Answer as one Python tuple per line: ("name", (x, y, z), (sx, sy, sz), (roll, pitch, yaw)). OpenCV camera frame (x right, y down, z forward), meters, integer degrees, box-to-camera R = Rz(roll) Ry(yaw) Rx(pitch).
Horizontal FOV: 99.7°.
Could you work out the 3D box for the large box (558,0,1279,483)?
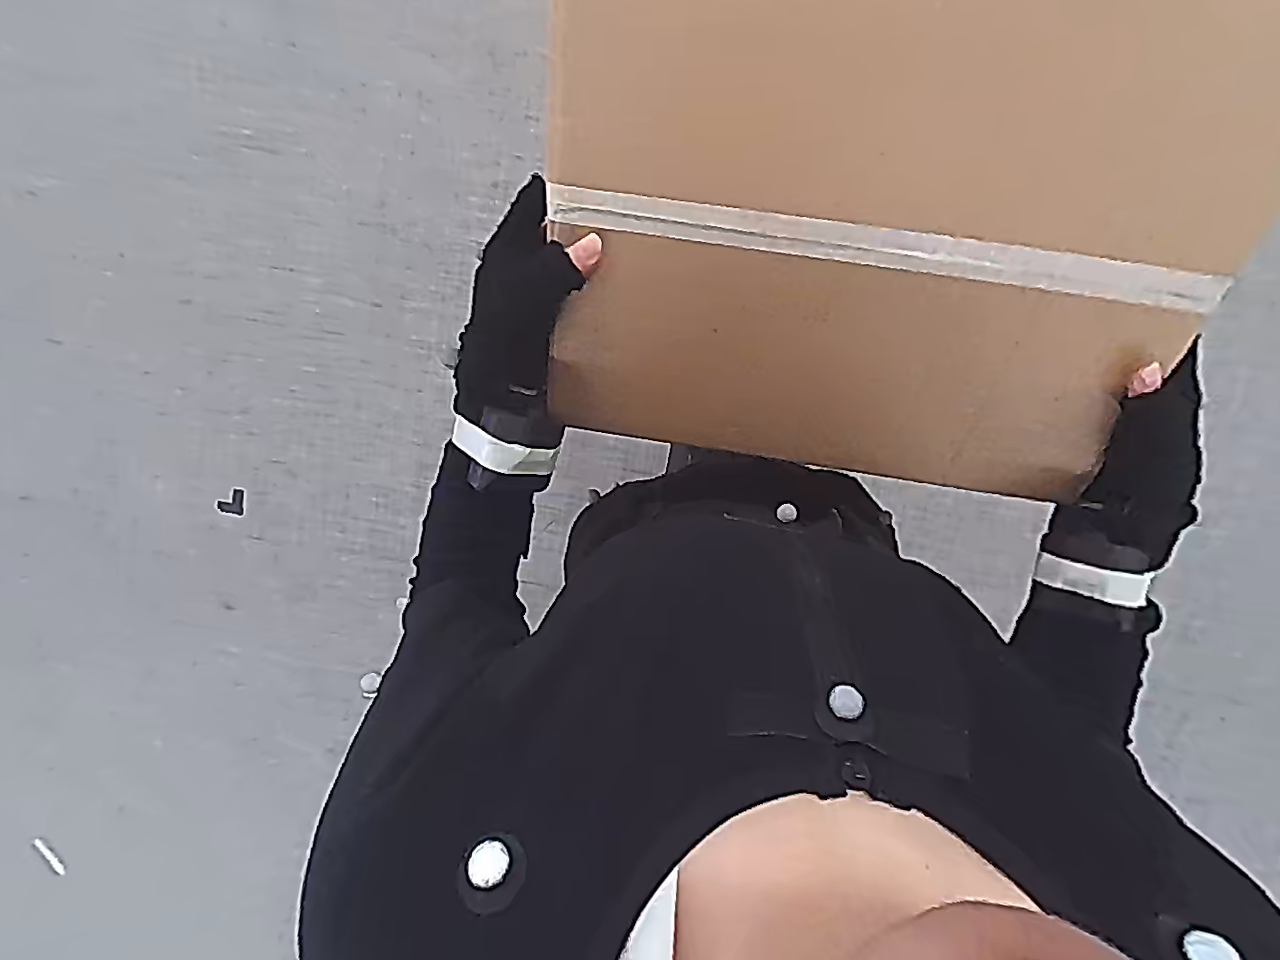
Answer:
("large box", (0.159, -0.231, 0.459), (0.408, 0.320, 0.320), (9, 126, 1))
